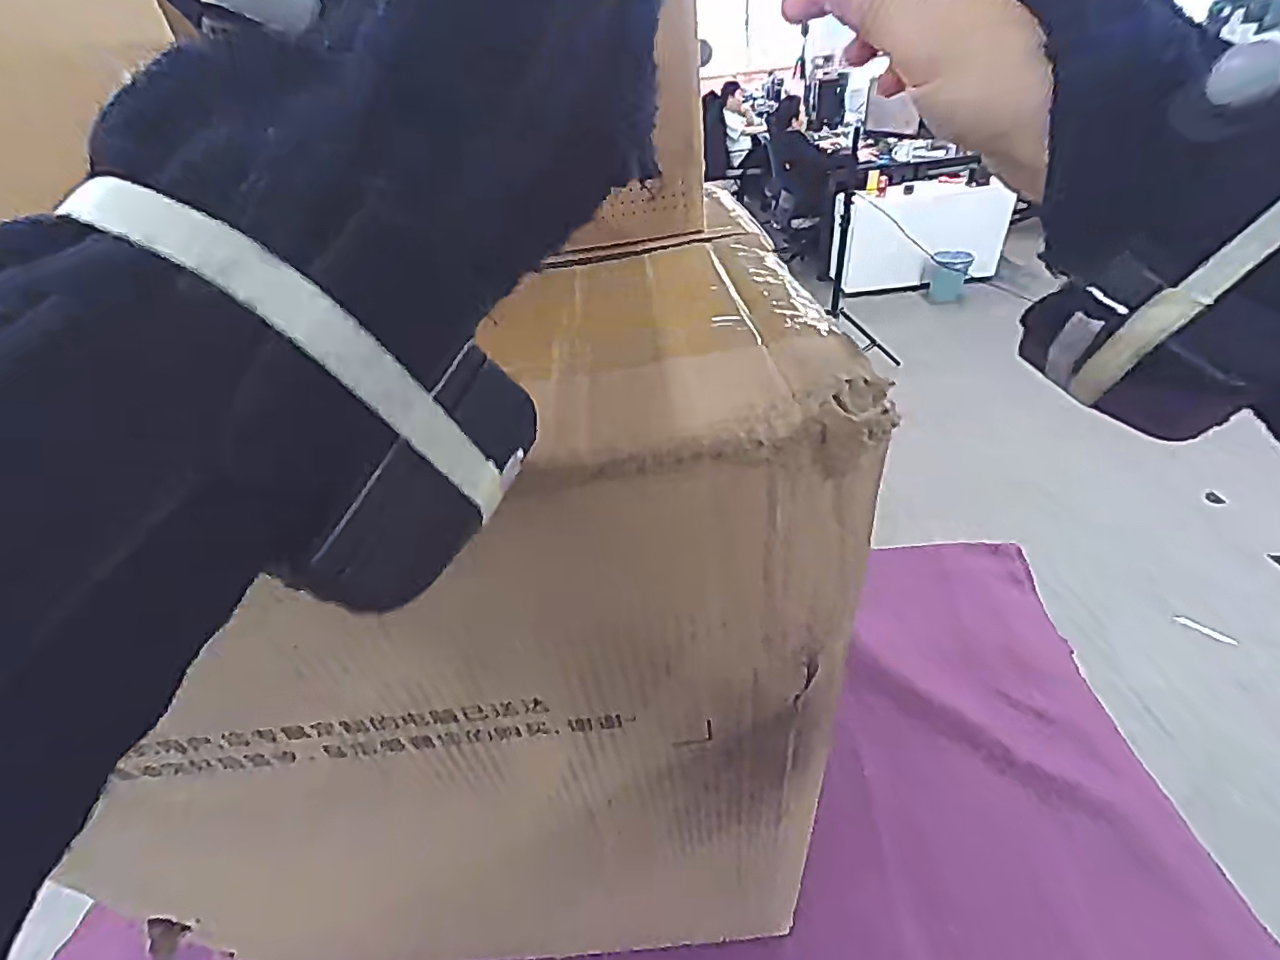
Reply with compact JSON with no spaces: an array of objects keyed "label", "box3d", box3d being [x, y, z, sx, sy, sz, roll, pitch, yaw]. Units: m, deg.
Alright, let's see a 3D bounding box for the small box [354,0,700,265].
[{"label":"small box","box3d":[-0.055,-0.259,0.359,0.179,0.176,0.168,-8,37,2]}]
